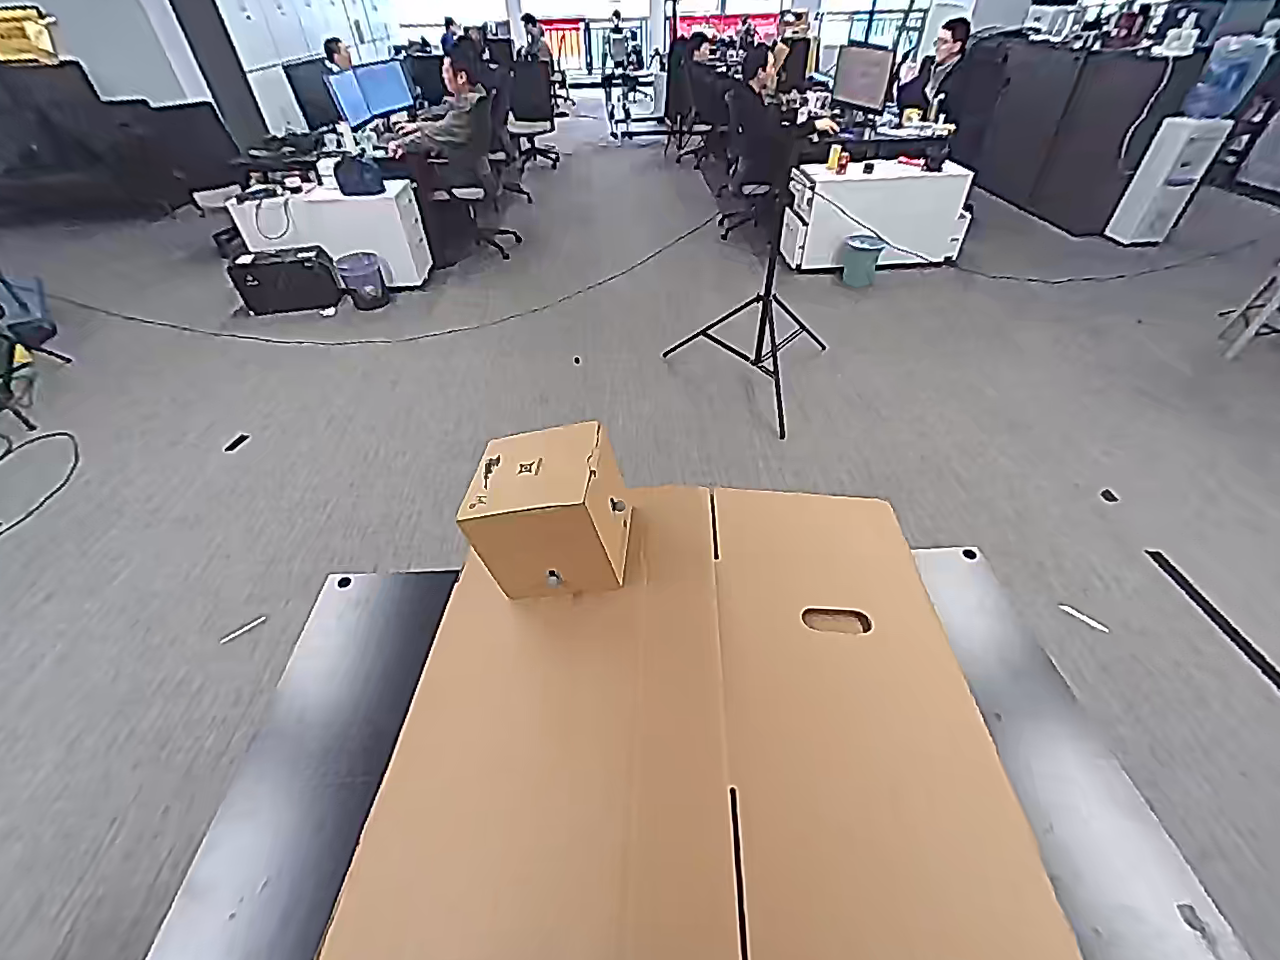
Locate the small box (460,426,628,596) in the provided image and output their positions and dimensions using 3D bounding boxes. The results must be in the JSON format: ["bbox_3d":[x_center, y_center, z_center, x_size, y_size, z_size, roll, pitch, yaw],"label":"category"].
[{"bbox_3d":[-0.121,0.048,0.775,0.179,0.176,0.168,-8,40,12],"label":"small box"}]
